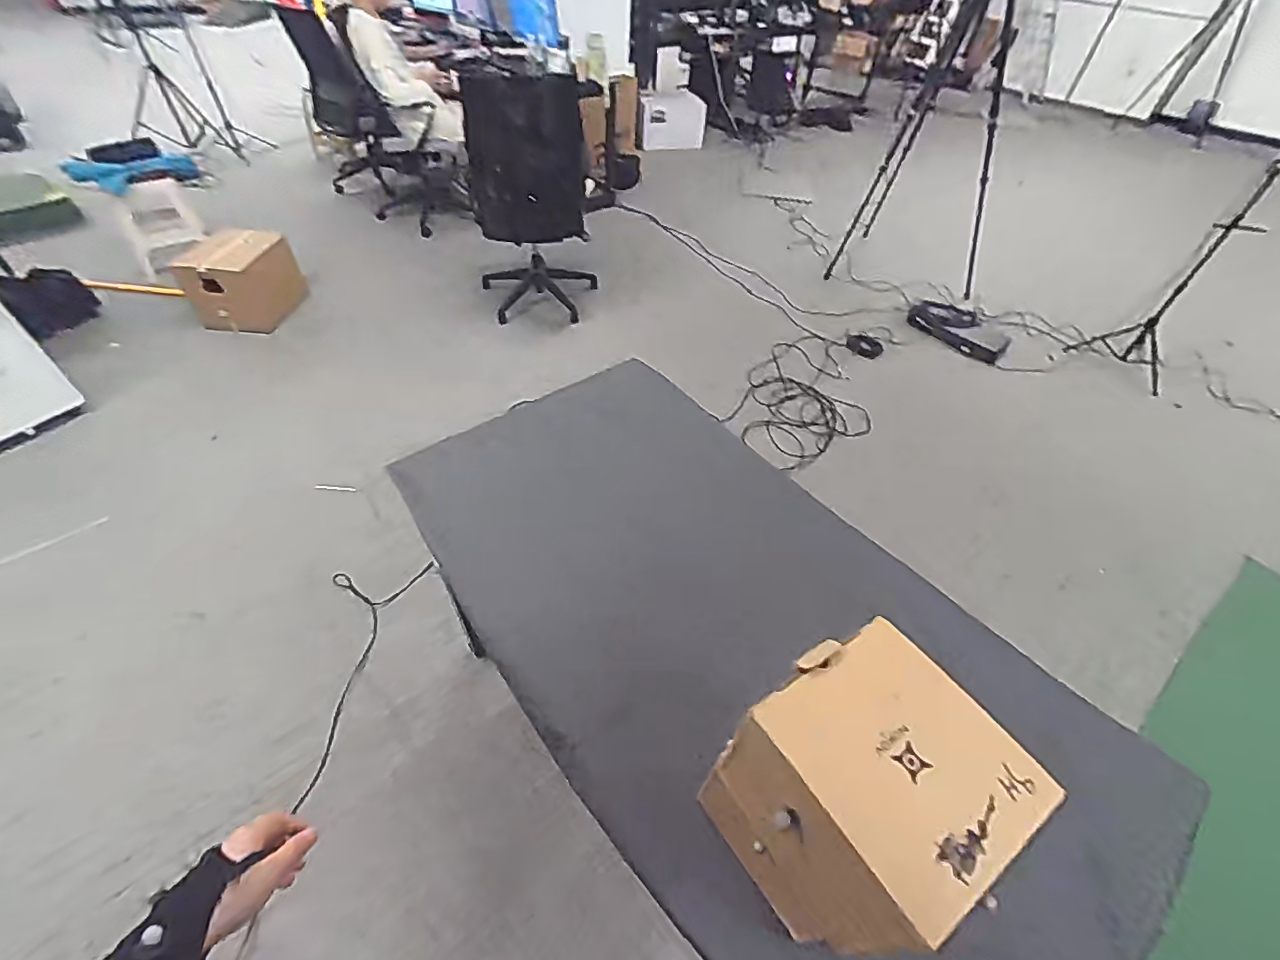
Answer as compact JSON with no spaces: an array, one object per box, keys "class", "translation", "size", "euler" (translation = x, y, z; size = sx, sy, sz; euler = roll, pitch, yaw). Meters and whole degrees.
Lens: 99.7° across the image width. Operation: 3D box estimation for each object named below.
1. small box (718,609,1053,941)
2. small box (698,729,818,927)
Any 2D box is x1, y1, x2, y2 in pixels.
[{"class":"small box","translation":[0.189,0.254,0.473],"size":[0.168,0.176,0.179],"euler":[-23,52,-24]},{"class":"small box","translation":[0.184,0.353,0.605],"size":[0.168,0.176,0.179],"euler":[-26,55,-26]}]
